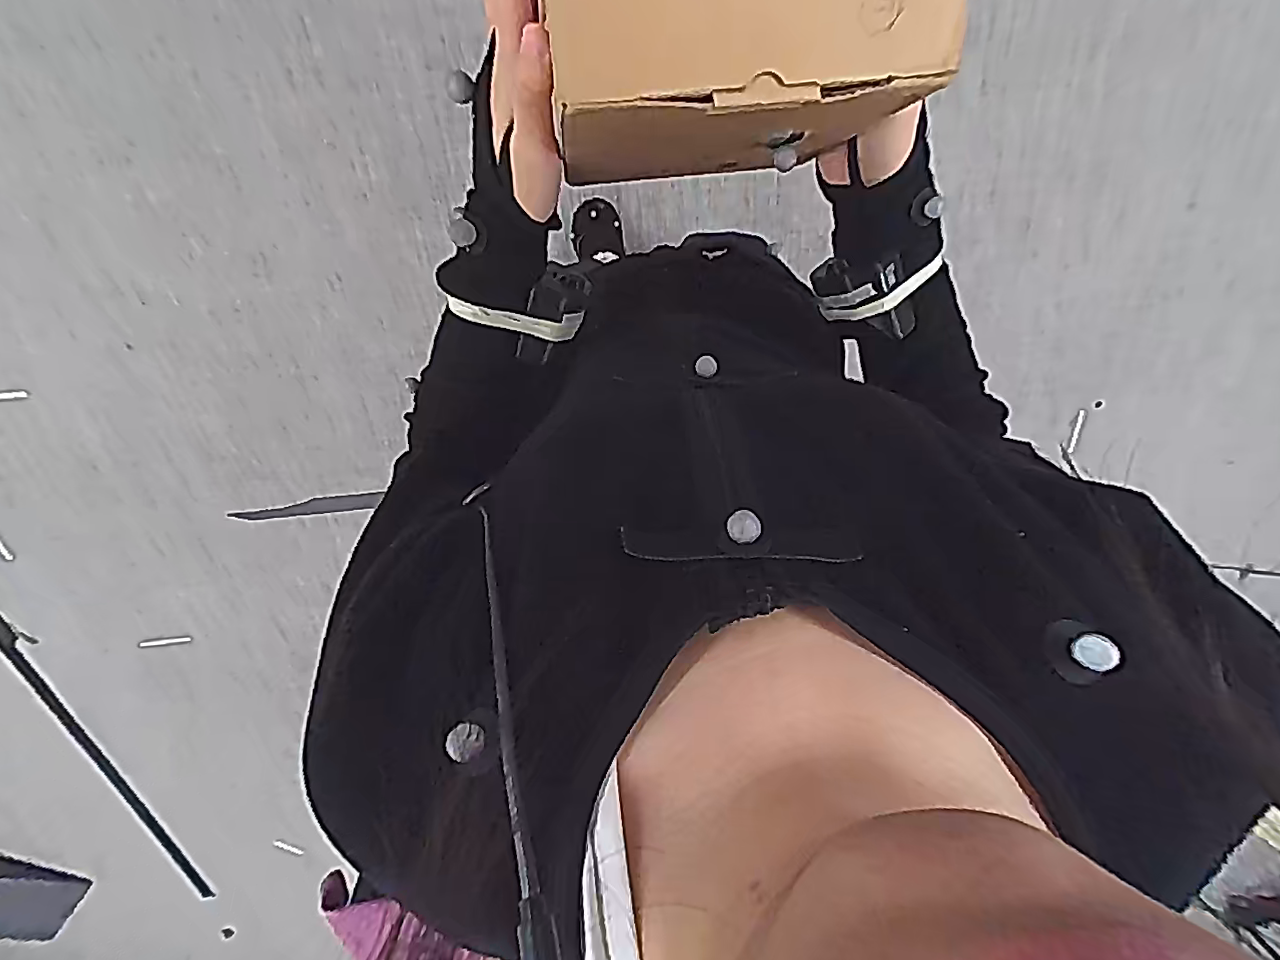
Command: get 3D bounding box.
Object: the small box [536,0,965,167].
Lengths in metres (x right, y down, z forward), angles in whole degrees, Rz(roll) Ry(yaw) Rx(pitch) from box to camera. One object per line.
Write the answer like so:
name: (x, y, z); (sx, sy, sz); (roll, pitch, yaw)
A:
small box: (0.031, -0.263, 0.258); (0.168, 0.176, 0.179); (-8, 110, -5)

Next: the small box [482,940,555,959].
small box: (-0.280, 1.197, 1.235); (0.168, 0.176, 0.179); (-2, 116, -6)
